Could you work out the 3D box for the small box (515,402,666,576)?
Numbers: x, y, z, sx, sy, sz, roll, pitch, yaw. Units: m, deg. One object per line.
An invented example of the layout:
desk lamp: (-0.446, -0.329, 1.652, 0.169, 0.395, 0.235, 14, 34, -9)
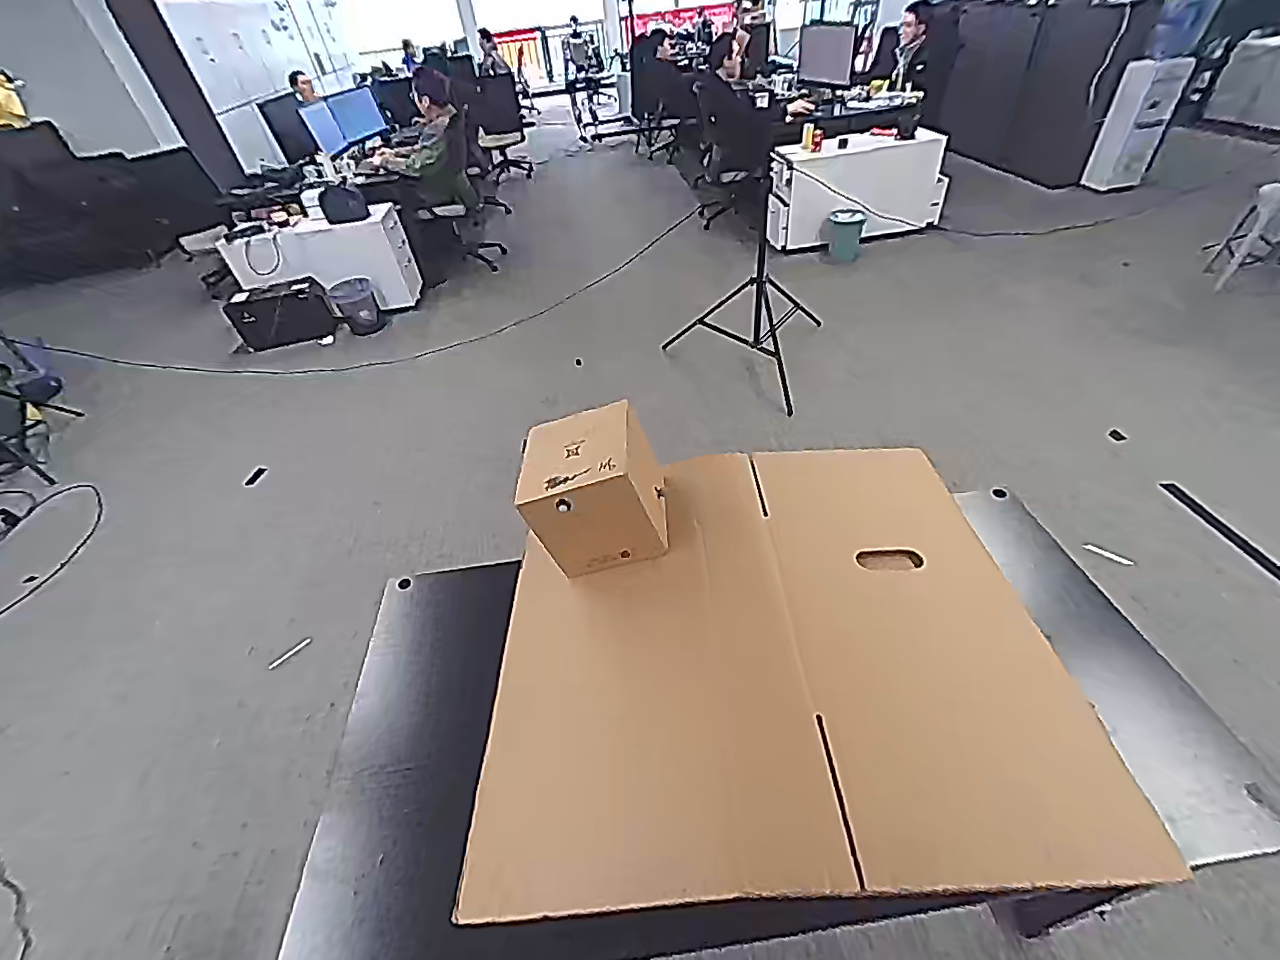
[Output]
small box: (-0.064, 0.016, 0.817, 0.168, 0.176, 0.179, -16, 39, 13)
